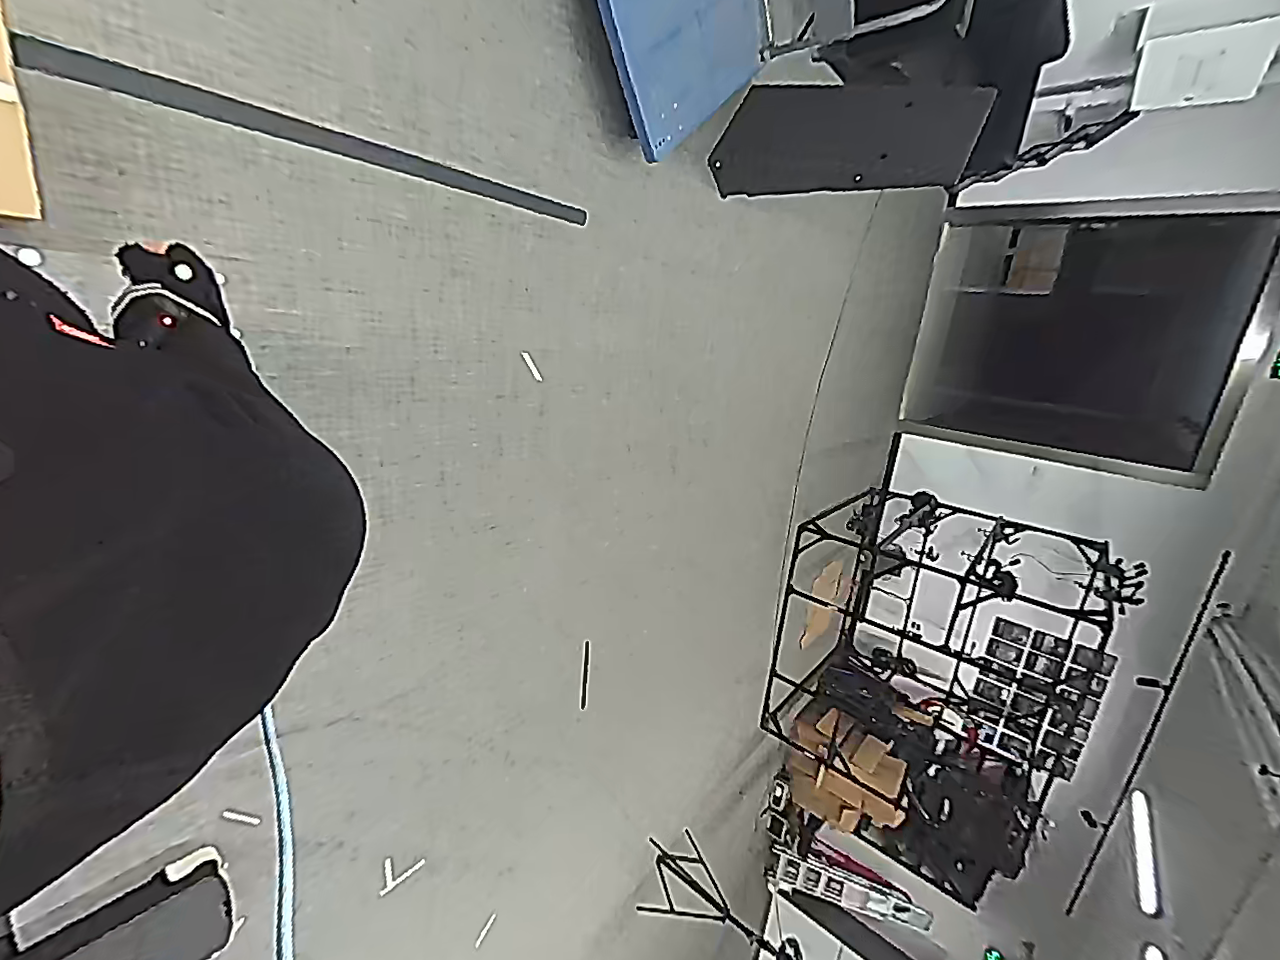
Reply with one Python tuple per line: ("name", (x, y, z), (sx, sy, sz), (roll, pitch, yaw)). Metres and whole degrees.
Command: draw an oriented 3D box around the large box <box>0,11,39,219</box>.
("large box", (-1.090, -0.531, 0.666), (0.408, 0.320, 0.320), (-15, 117, -51))
